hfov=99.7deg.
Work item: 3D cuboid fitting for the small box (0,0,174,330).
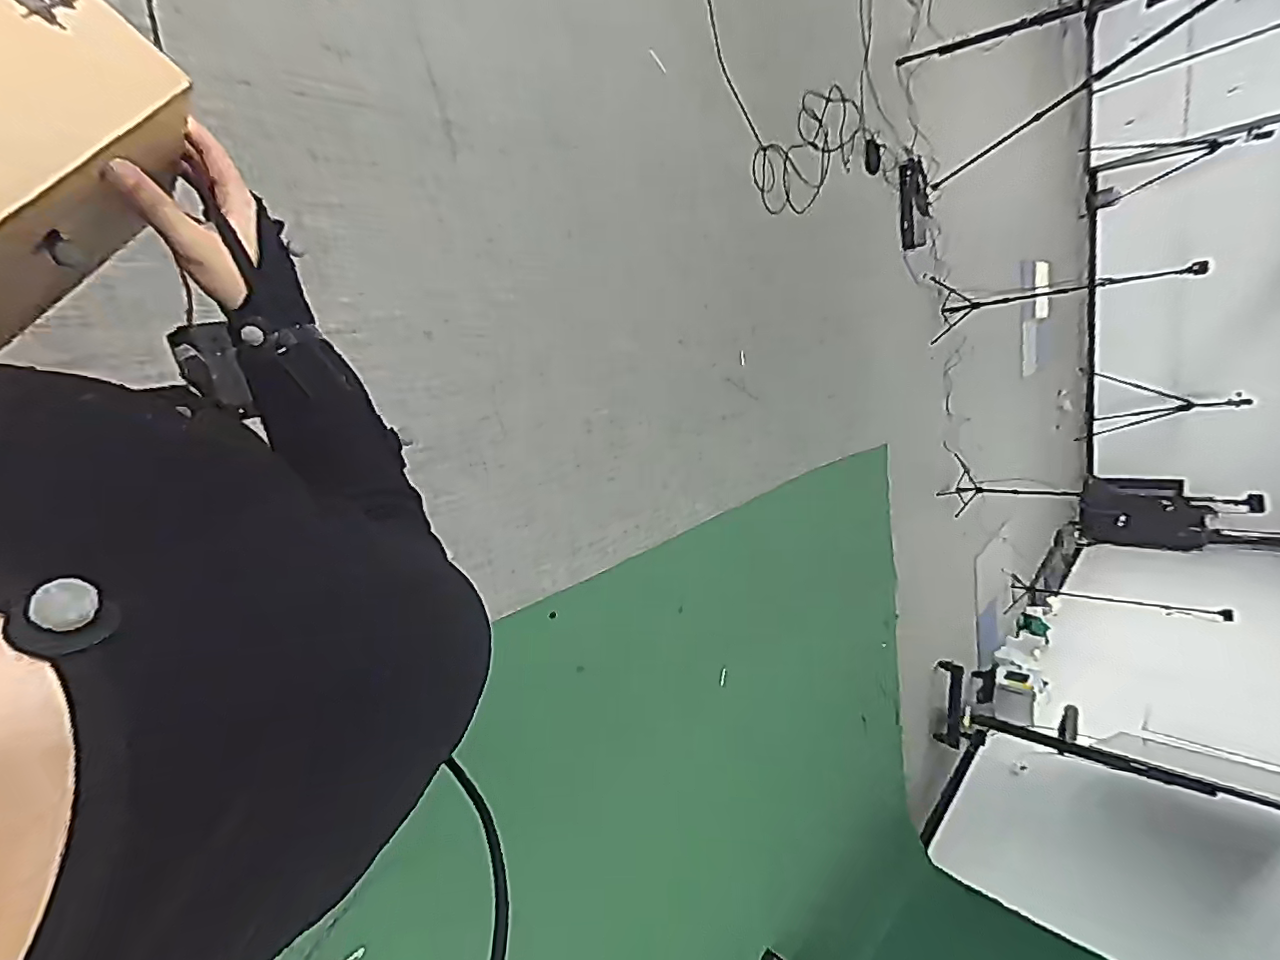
[{"bbox_3d":[-0.390,-0.201,0.280,0.168,0.176,0.179,41,63,-35],"label":"small box"}]
